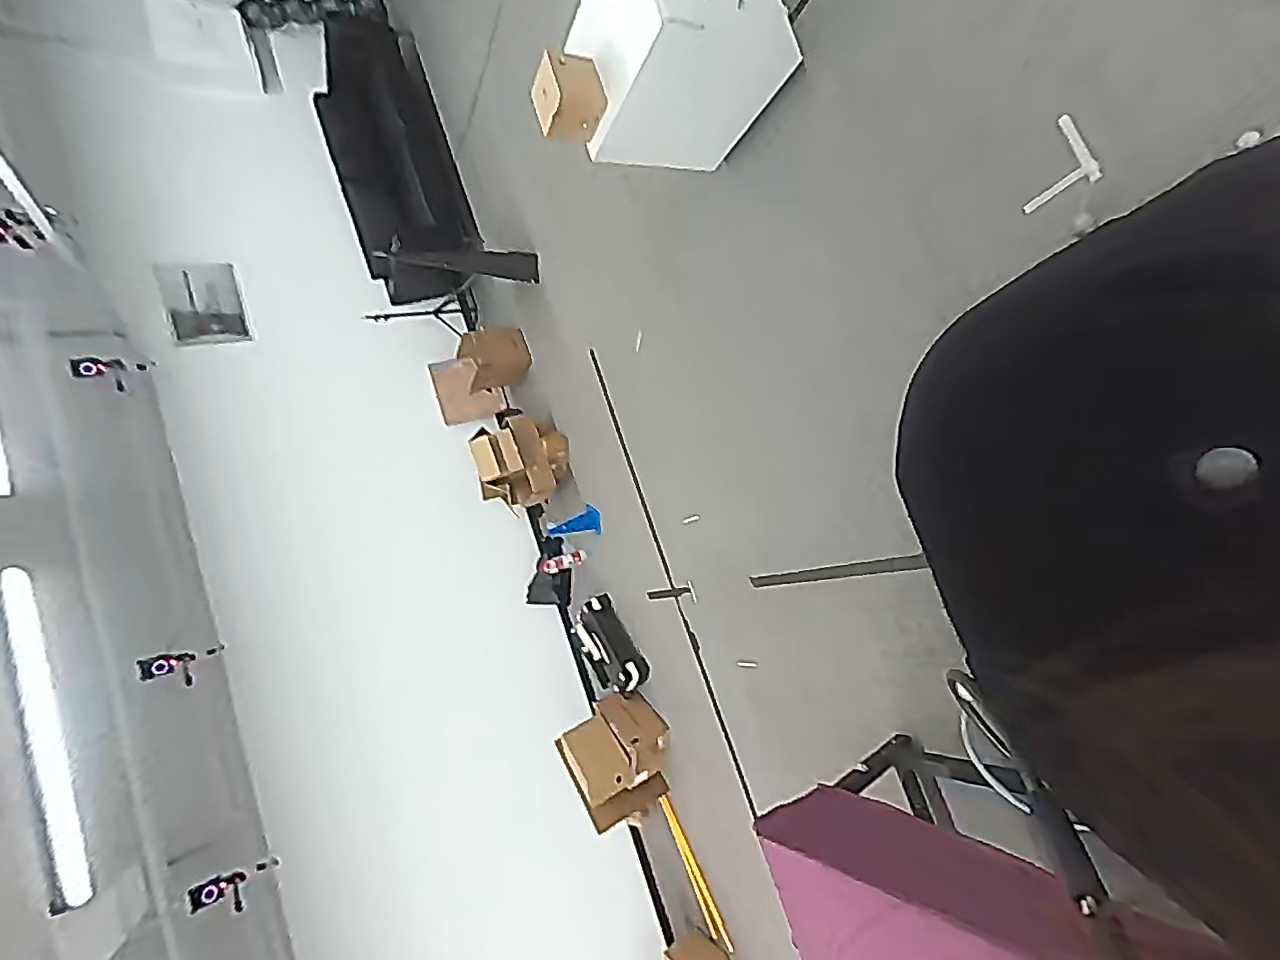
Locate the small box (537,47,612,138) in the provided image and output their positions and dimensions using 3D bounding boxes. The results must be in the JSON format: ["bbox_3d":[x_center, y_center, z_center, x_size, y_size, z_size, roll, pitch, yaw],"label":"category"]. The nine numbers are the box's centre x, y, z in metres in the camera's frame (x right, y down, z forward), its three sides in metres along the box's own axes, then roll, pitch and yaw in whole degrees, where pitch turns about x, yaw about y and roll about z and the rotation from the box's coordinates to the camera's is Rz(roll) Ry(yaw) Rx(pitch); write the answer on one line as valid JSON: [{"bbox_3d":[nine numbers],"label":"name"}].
[{"bbox_3d":[-0.215,-1.253,1.765,0.168,0.176,0.179,-29,78,60],"label":"small box"}]
